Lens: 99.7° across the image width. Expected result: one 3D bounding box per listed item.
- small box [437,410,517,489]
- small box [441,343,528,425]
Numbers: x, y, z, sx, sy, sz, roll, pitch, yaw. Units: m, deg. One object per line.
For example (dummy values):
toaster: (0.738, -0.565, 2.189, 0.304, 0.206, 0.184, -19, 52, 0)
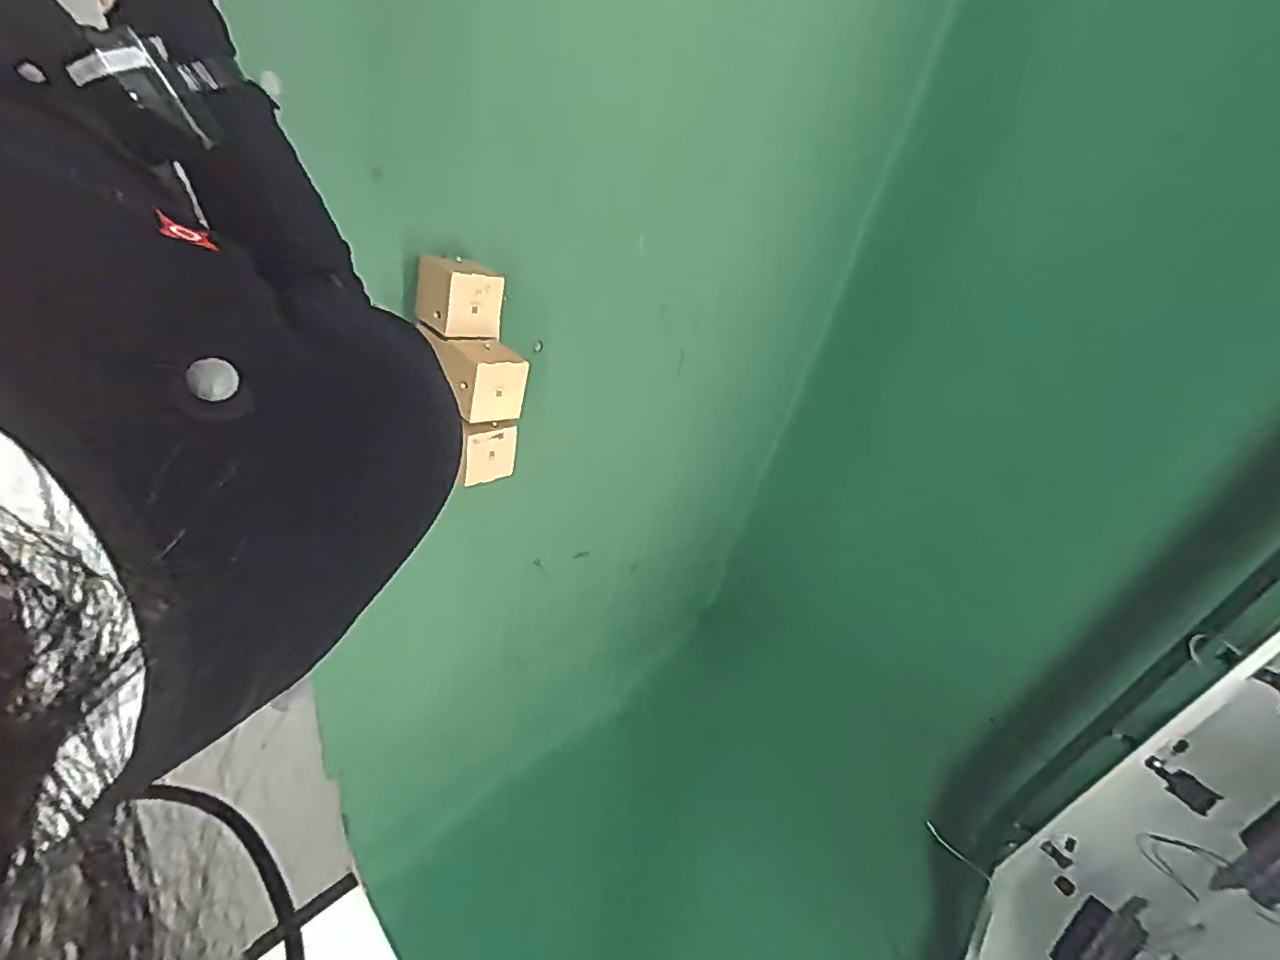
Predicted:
small box: (-0.497, -0.104, 1.634, 0.168, 0.176, 0.179, -19, 135, -44)
small box: (-0.448, -0.275, 1.541, 0.168, 0.176, 0.179, -13, 129, -46)
